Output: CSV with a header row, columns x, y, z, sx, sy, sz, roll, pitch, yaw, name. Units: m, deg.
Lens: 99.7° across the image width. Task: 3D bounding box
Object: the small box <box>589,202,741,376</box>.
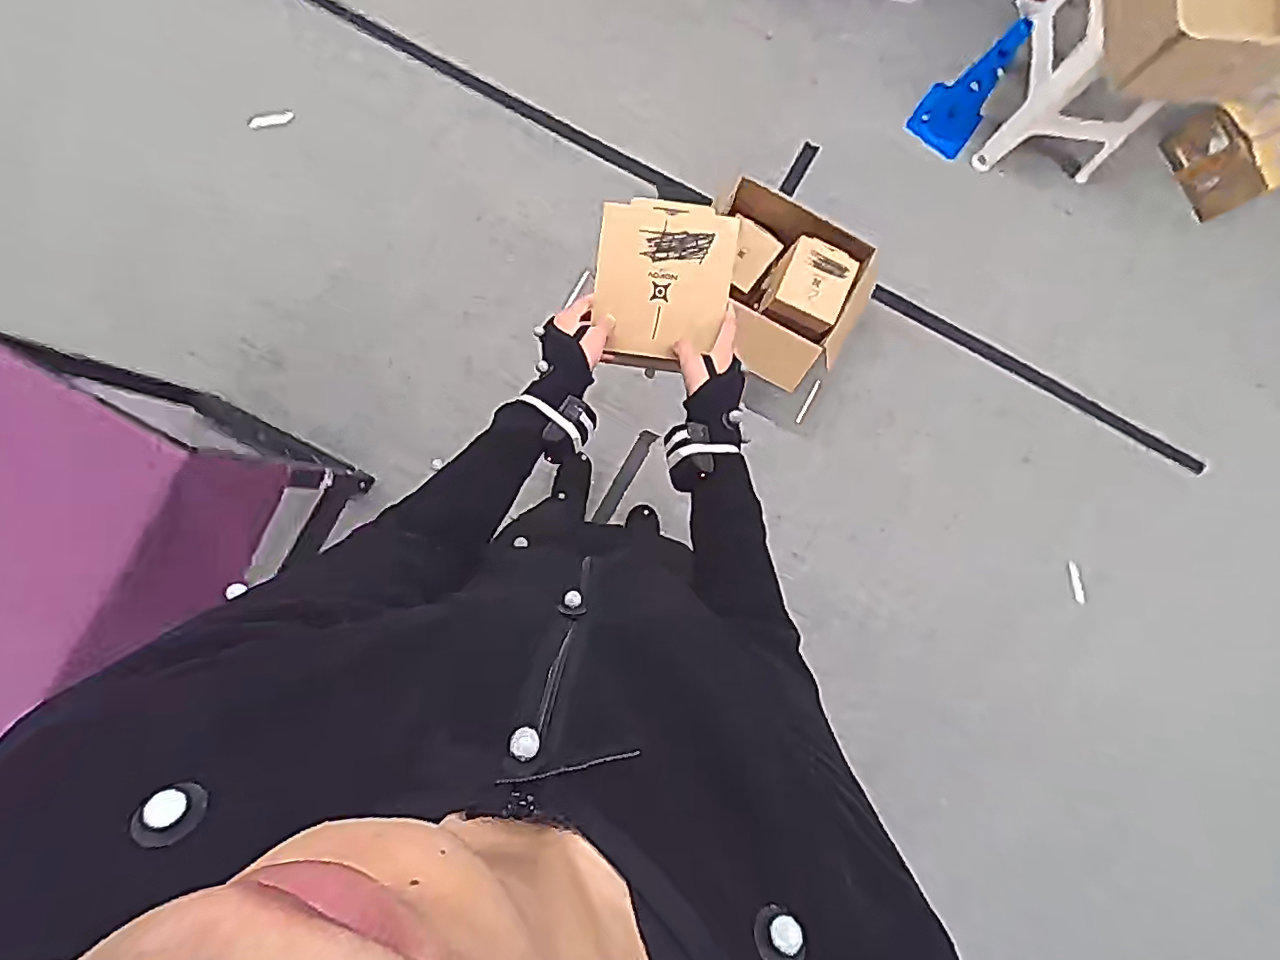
x,y,z,sx,sy,sz,roll,pitch,yaw,name
0.032,-0.244,0.729,0.168,0.176,0.179,8,97,2,small box
